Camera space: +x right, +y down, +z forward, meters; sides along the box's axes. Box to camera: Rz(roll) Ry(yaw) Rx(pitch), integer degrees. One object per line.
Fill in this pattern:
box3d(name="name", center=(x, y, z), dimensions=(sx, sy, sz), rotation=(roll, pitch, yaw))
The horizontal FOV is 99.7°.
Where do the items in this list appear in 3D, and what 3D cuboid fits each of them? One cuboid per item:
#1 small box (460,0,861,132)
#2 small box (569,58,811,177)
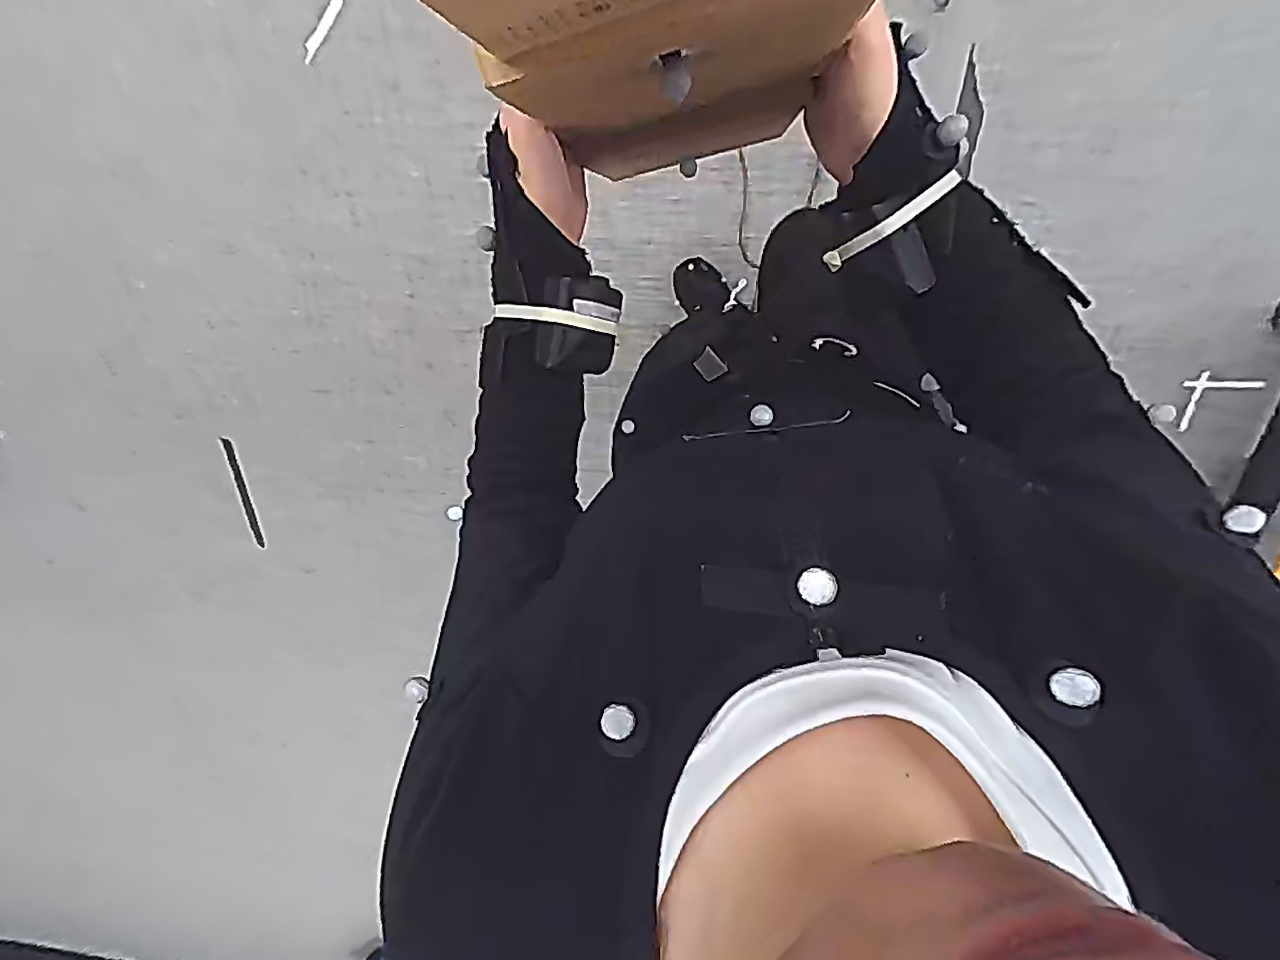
box3d(name="small box", center=(0.008, -0.288, 0.255), dimensions=(0.179, 0.176, 0.168), rotation=(-9, 113, 13))
box3d(name="small box", center=(0.025, -0.348, 0.405), dimensions=(0.168, 0.176, 0.179), rotation=(-8, 114, 12))
